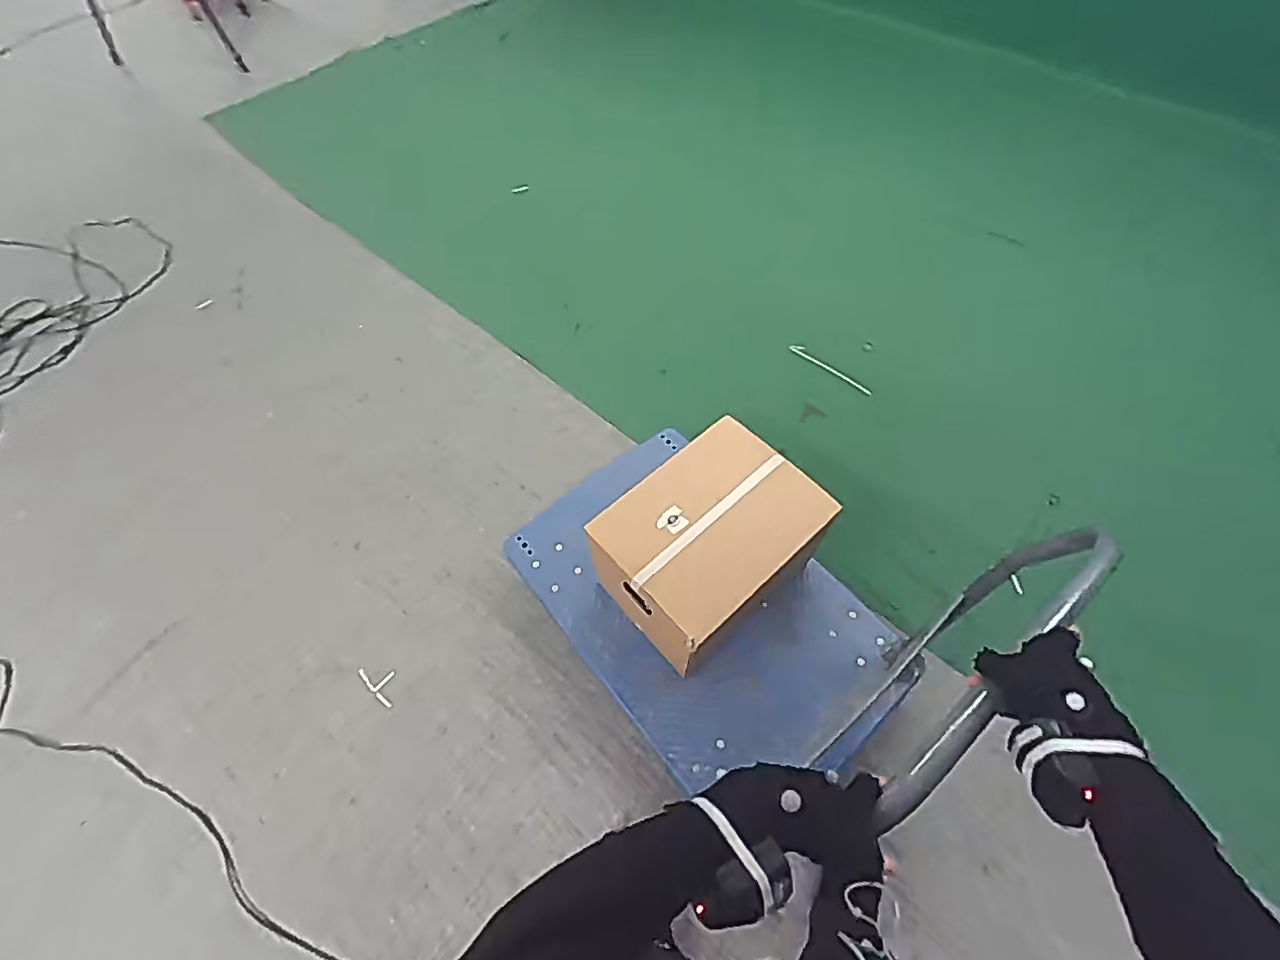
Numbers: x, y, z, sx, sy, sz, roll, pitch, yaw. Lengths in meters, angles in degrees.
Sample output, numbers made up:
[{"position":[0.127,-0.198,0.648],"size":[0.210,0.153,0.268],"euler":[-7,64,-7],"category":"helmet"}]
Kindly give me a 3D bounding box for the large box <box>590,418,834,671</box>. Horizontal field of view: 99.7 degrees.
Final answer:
[{"position":[0.151,0.147,1.198],"size":[0.408,0.320,0.320],"euler":[-40,66,-17],"category":"large box"}]
